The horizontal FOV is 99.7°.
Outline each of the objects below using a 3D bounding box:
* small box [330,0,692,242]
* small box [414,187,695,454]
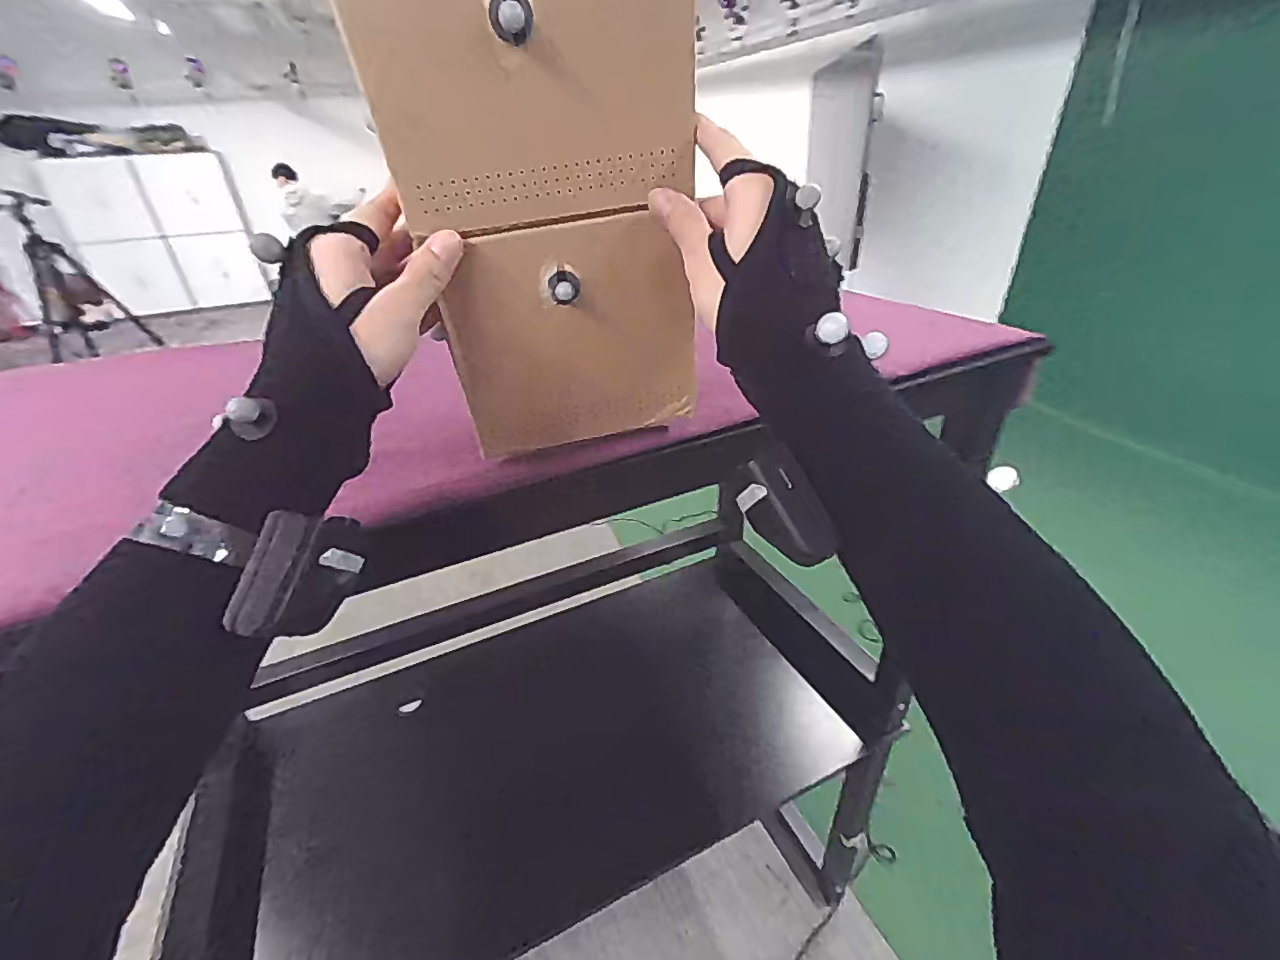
[{"bbox_3d":[-0.071,-0.263,0.328,0.179,0.176,0.168,-14,42,-7],"label":"small box"},{"bbox_3d":[-0.059,-0.140,0.435,0.179,0.176,0.168,-12,42,-8],"label":"small box"}]
